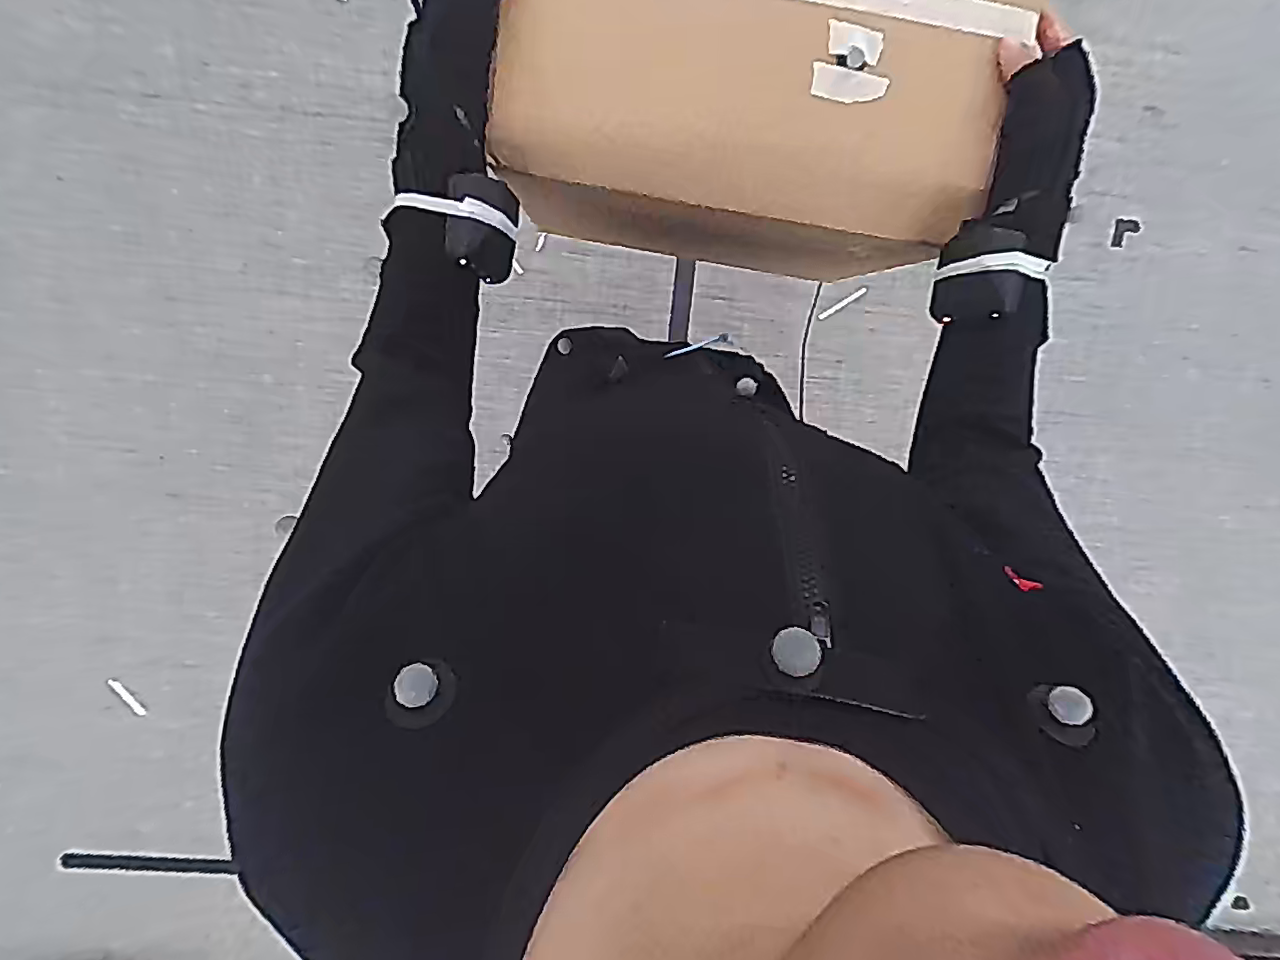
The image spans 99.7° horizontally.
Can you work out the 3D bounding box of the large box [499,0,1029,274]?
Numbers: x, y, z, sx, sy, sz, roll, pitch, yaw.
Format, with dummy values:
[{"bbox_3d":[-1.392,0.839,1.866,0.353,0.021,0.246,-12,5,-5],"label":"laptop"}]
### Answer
[{"bbox_3d":[0.091,-0.410,0.551,0.408,0.320,0.320,7,107,-6],"label":"large box"}]
